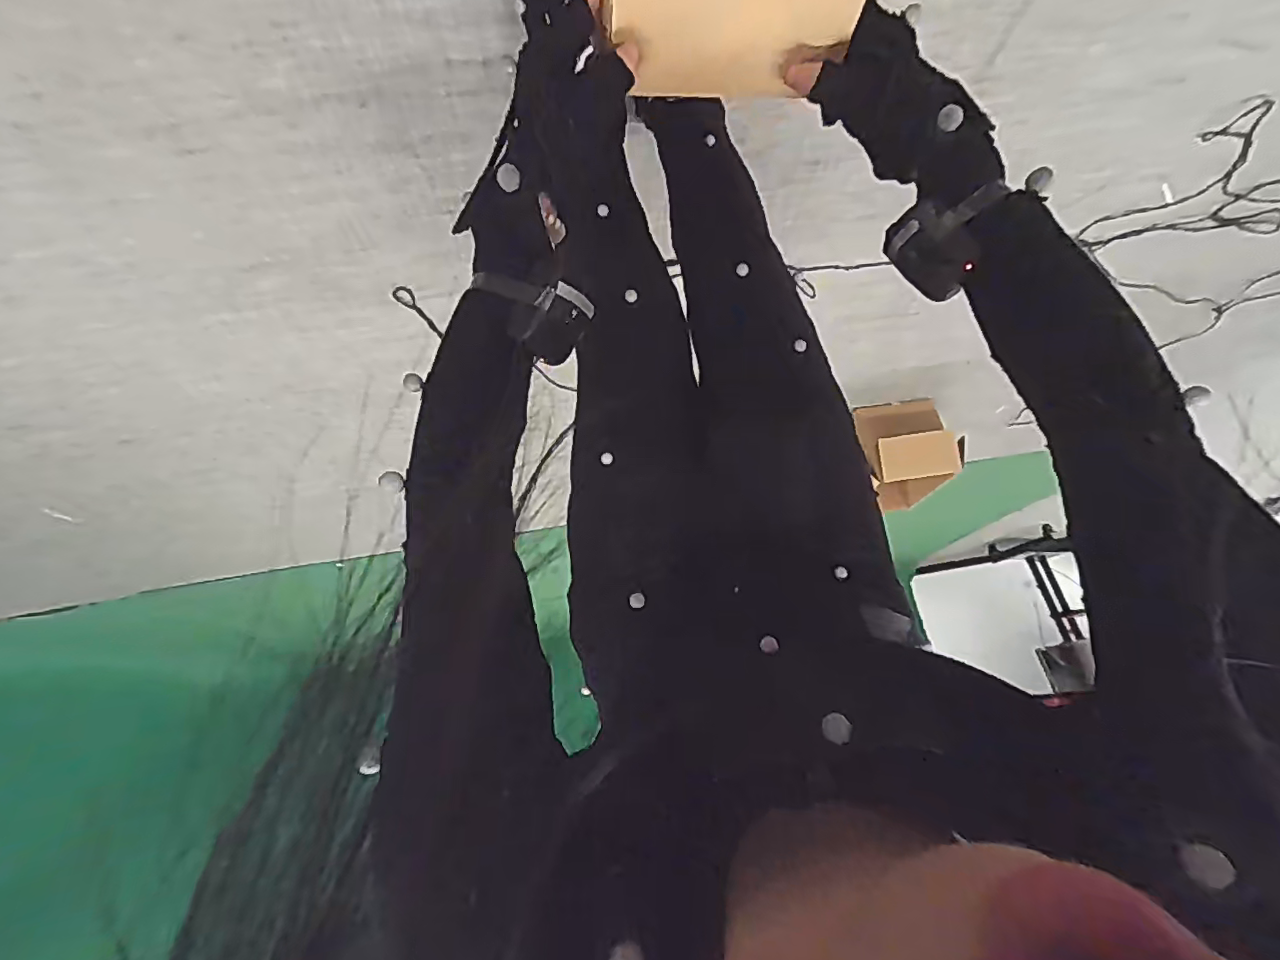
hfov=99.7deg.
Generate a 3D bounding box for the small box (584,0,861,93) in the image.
[{"bbox_3d":[0.053,-0.394,0.358,0.179,0.176,0.168,-5,154,-9],"label":"small box"}]
